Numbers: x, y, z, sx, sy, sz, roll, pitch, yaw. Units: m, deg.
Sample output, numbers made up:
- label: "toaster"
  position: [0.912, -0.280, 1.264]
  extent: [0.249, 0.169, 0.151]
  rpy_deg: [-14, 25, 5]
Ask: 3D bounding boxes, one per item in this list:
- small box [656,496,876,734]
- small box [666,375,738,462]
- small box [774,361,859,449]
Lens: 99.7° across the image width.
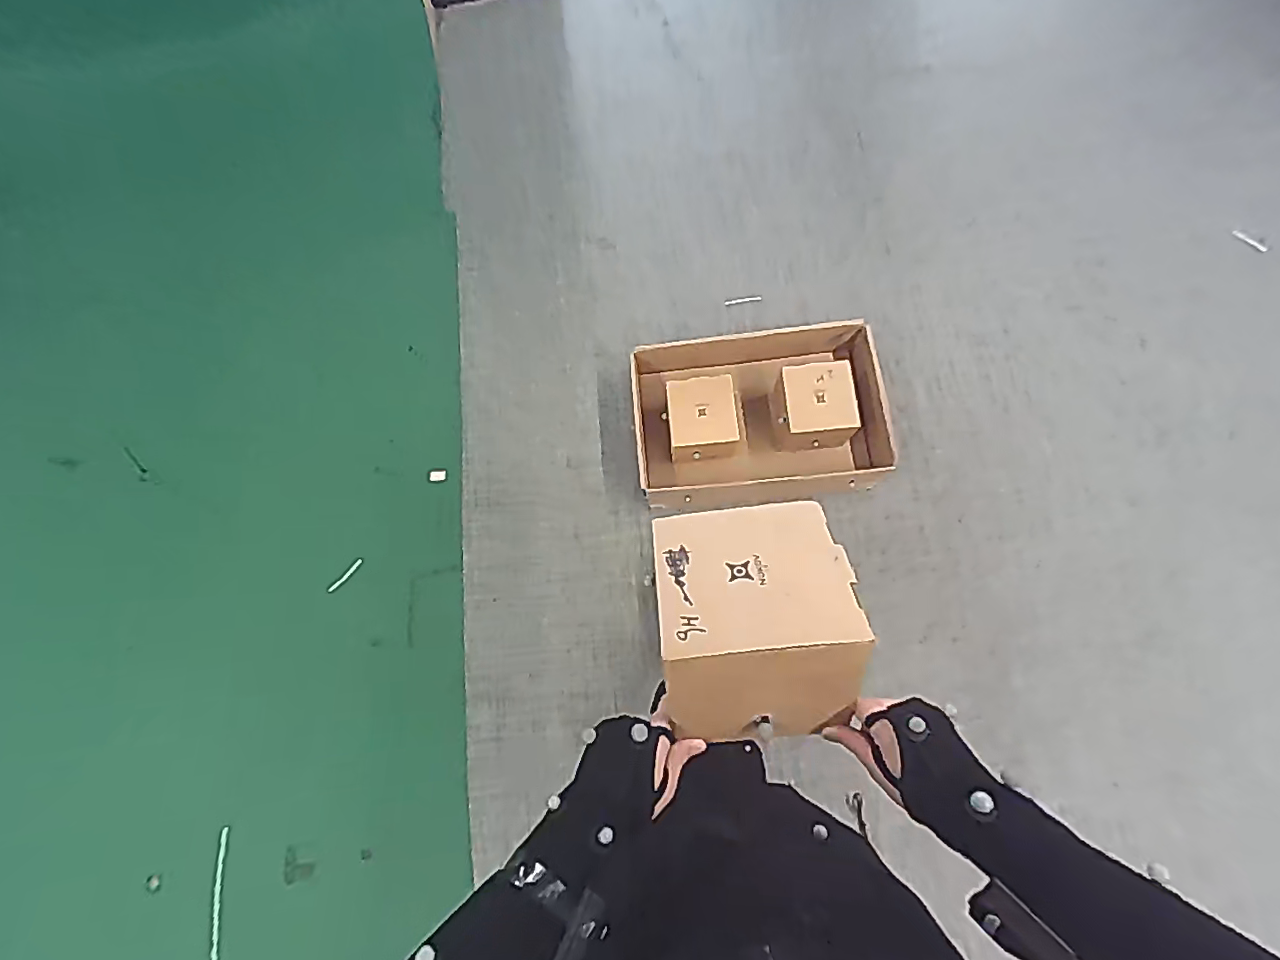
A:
- label: "small box"
  position: [0.111, 0.138, 0.550]
  extent: [0.179, 0.176, 0.168]
  rpy_deg: [-6, 40, 3]
- label: "small box"
  position: [0.159, -0.151, 1.398]
  extent: [0.168, 0.176, 0.179]
  rpy_deg: [-5, 75, 3]
- label: "small box"
  position: [0.442, -0.182, 1.378]
  extent: [0.168, 0.176, 0.179]
  rpy_deg: [-5, 76, 4]
